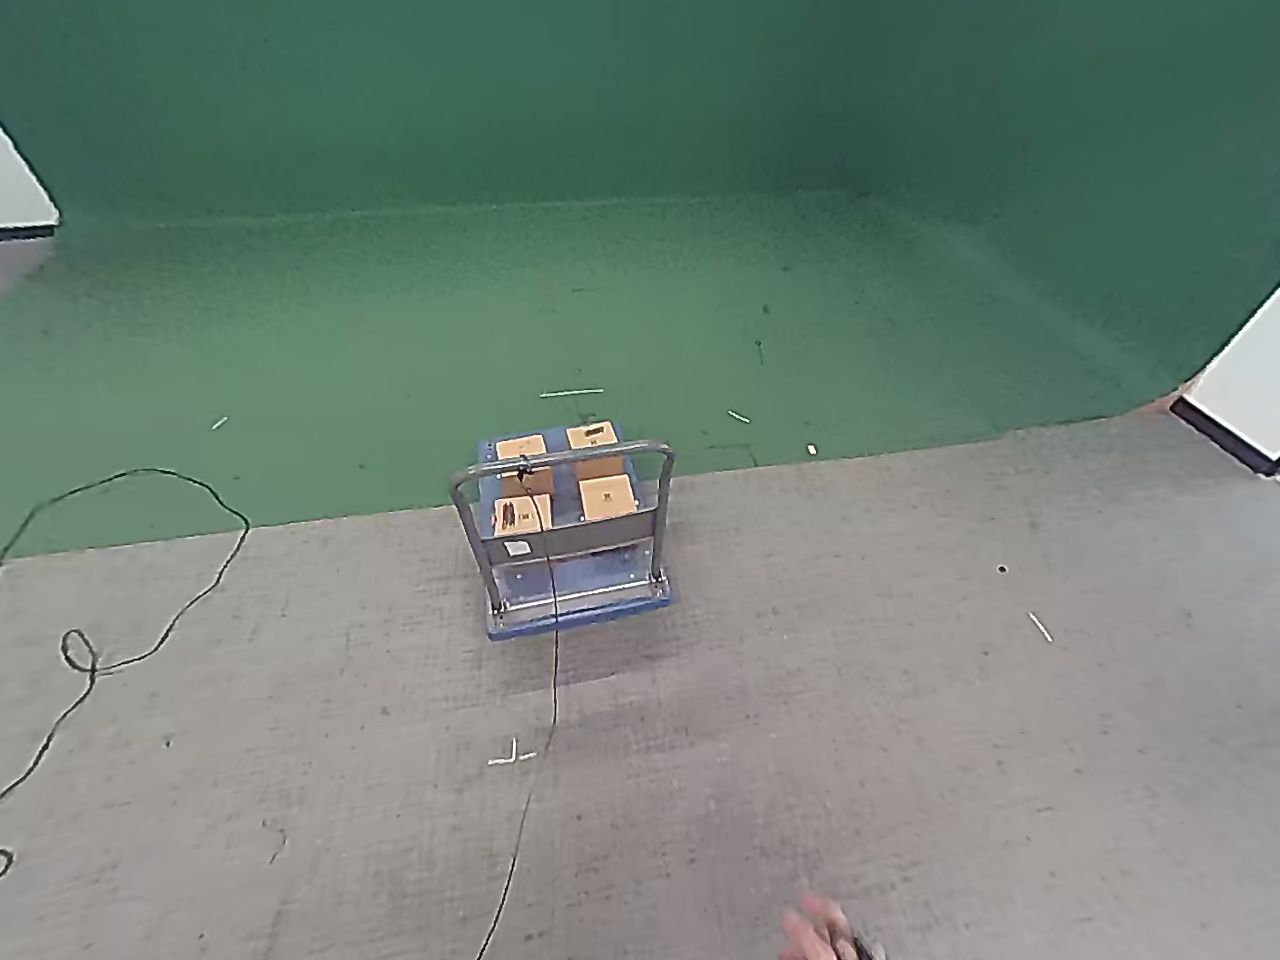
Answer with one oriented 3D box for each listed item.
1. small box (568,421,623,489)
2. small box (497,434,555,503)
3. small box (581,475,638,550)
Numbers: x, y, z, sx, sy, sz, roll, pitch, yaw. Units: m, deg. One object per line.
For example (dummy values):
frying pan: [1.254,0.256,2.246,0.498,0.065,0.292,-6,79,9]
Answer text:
small box: [-0.162,-0.085,1.971,0.168,0.176,0.179,-12,49,-11]
small box: [-0.403,-0.034,1.919,0.168,0.176,0.179,-11,48,-12]
small box: [-0.103,0.108,1.792,0.168,0.176,0.179,-8,48,-8]
